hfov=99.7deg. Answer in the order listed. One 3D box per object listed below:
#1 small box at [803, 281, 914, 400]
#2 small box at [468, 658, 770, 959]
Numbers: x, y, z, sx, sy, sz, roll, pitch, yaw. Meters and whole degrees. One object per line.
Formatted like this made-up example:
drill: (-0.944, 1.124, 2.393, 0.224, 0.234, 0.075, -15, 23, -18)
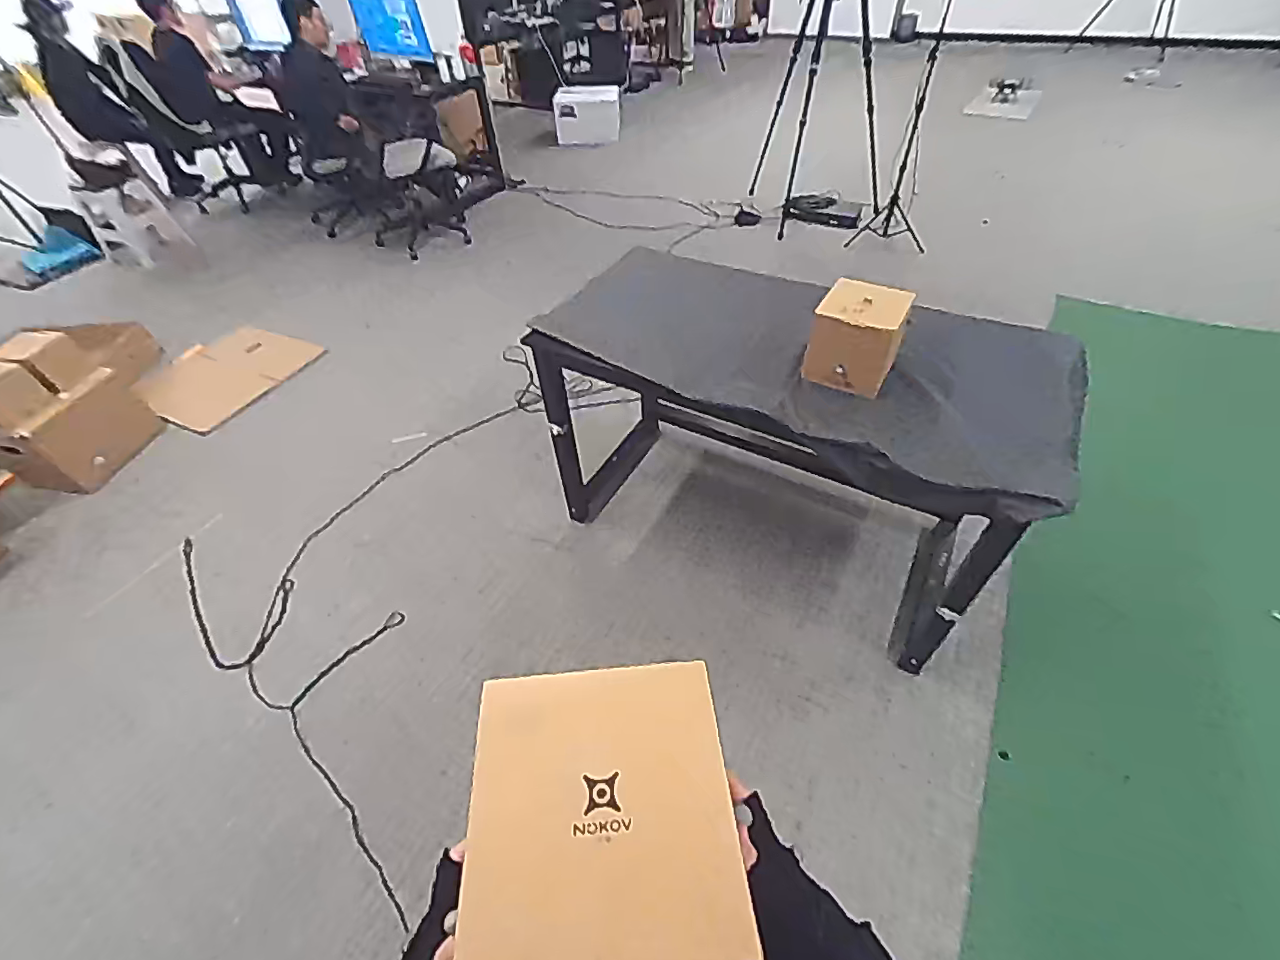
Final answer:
small box: (0.472, -0.306, 1.186, 0.168, 0.176, 0.179, 23, 52, 23)
small box: (-0.021, 0.256, 0.400, 0.168, 0.176, 0.179, -3, 47, -5)
